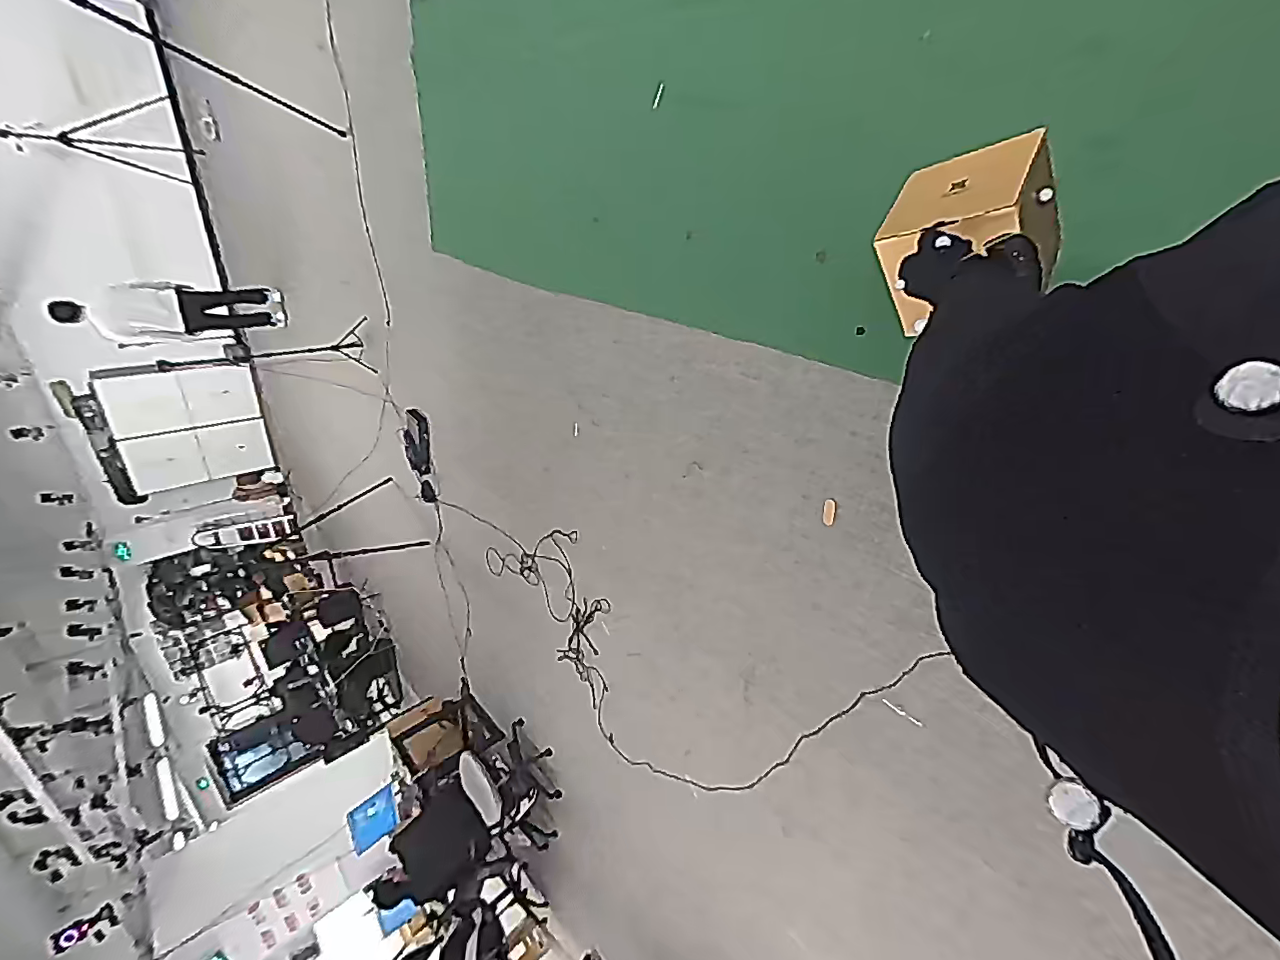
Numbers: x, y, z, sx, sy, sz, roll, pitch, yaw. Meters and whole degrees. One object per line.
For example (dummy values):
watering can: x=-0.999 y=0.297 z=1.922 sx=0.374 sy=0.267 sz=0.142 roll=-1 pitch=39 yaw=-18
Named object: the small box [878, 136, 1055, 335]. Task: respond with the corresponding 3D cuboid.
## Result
small box: x=0.467 y=-0.332 z=0.764 sx=0.168 sy=0.179 sz=0.176 roll=5 pitch=144 yaw=48
